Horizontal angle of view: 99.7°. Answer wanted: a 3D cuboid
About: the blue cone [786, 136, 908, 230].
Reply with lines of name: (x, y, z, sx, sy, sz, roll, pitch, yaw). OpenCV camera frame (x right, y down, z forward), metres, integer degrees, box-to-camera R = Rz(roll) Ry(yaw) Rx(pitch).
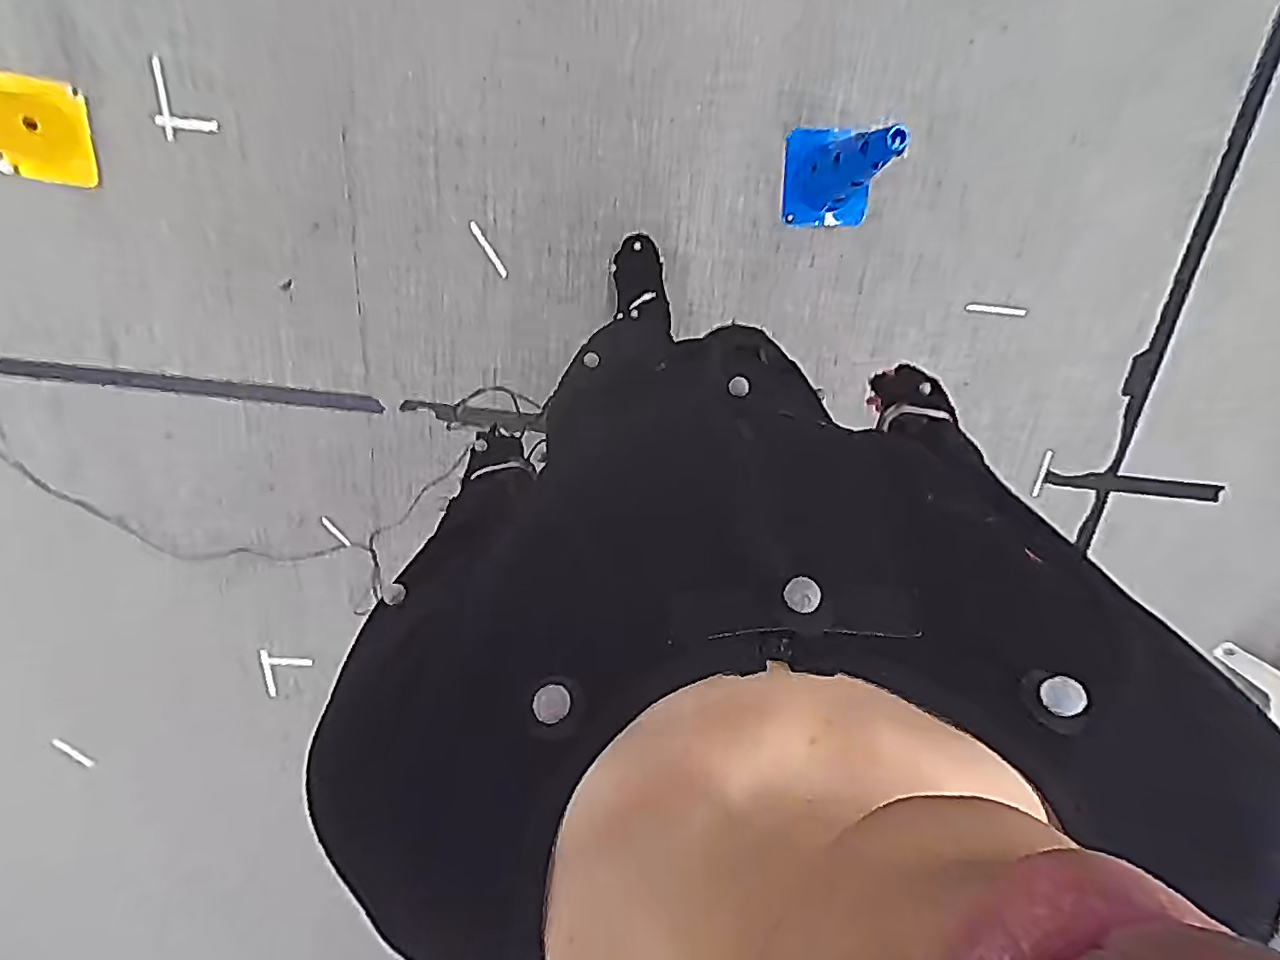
blue cone: (0.437, -0.629, 1.094, 0.193, 0.380, 0.192, 0, 110, -1)
